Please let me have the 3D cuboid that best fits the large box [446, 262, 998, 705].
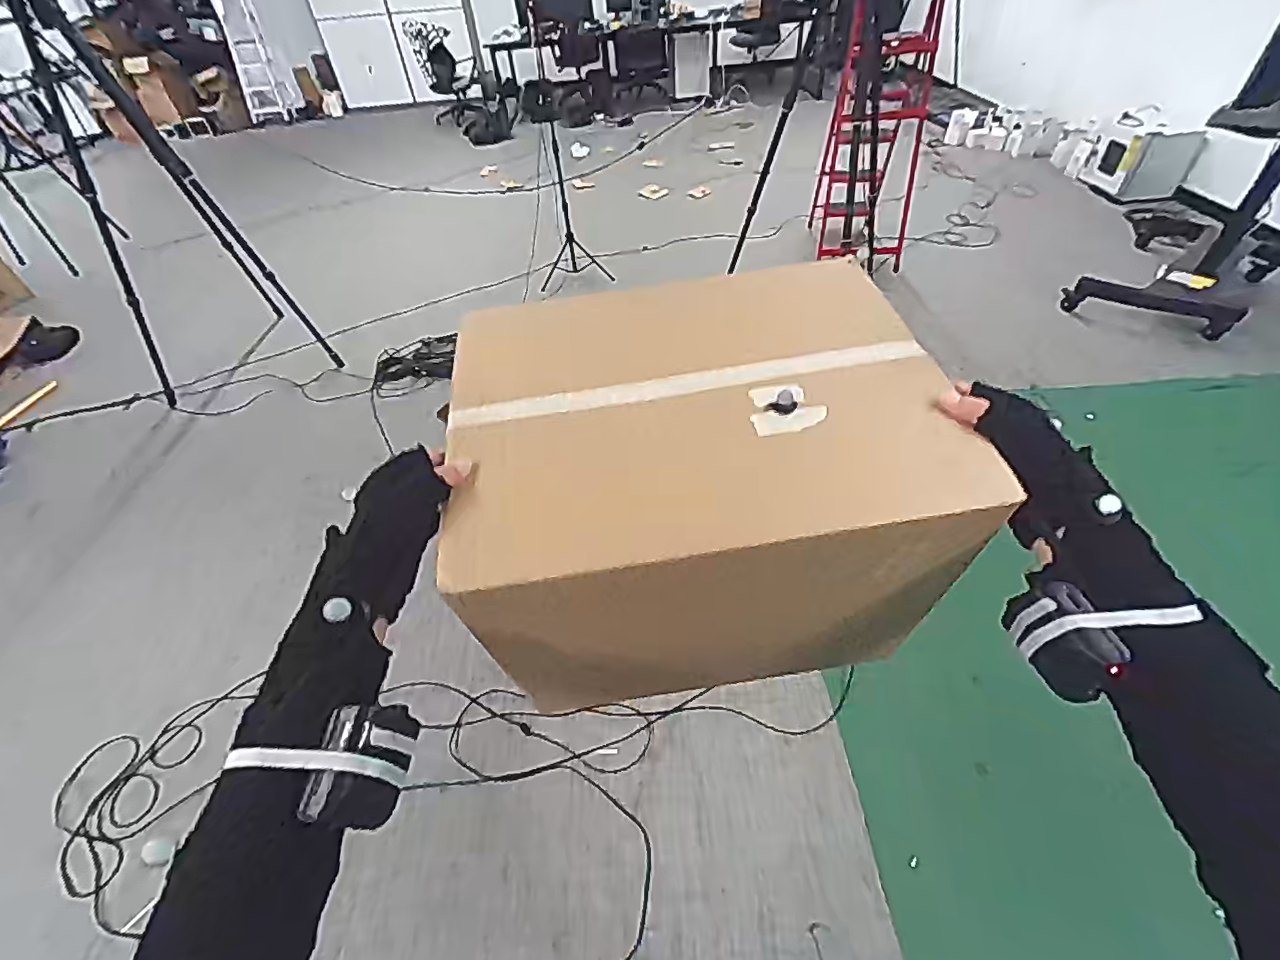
[{"bbox_3d":[0.046,0.013,0.581,0.408,0.320,0.320,-9,54,-2],"label":"large box"}]
